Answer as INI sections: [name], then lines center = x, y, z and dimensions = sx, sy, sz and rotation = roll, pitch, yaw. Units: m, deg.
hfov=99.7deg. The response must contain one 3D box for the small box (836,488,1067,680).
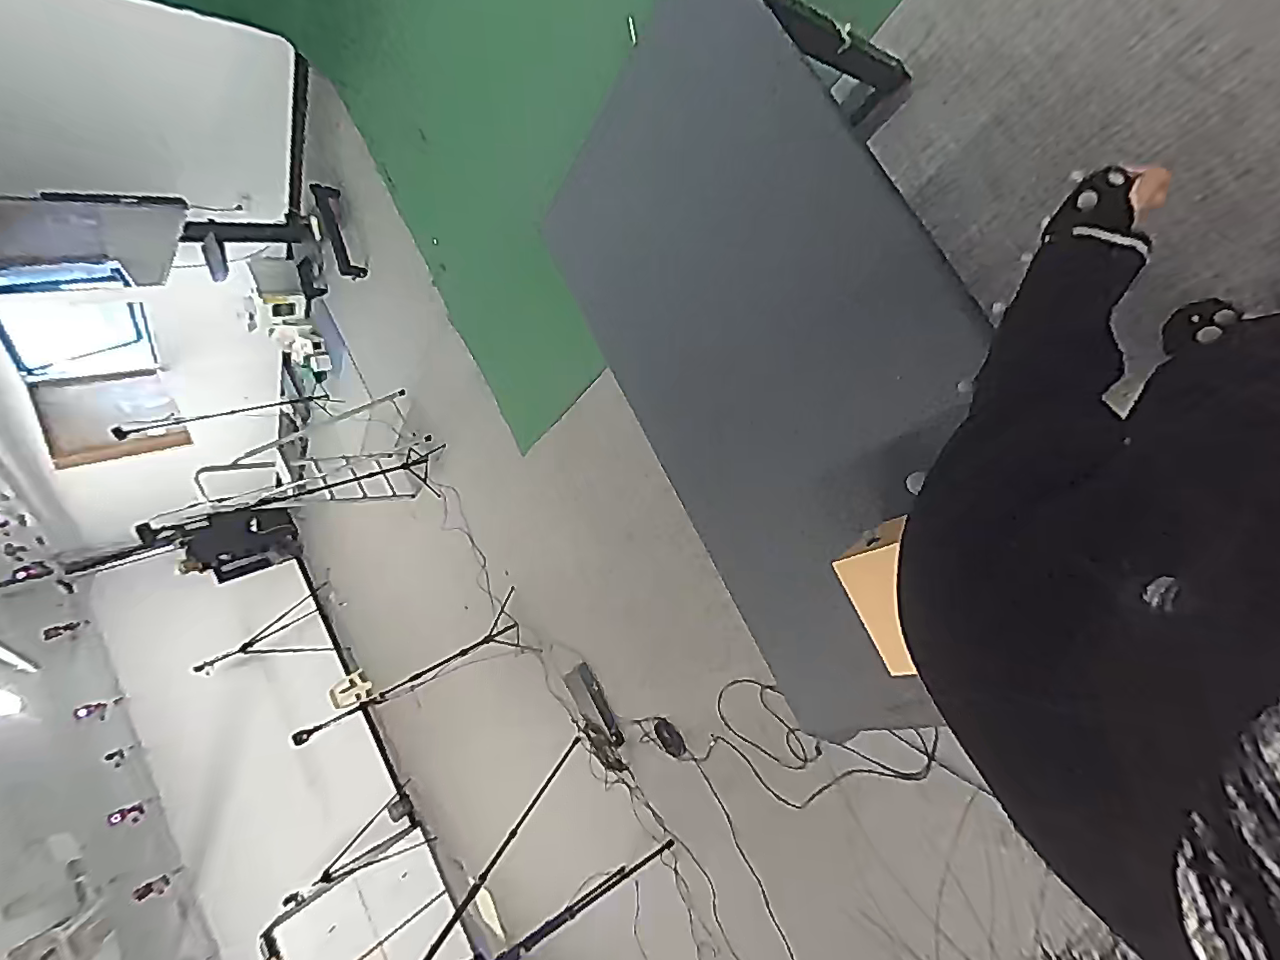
[small box]
center = 0.393, 0.130, 0.686
dimensions = 0.179, 0.176, 0.168
rotation = -34, 81, 48
